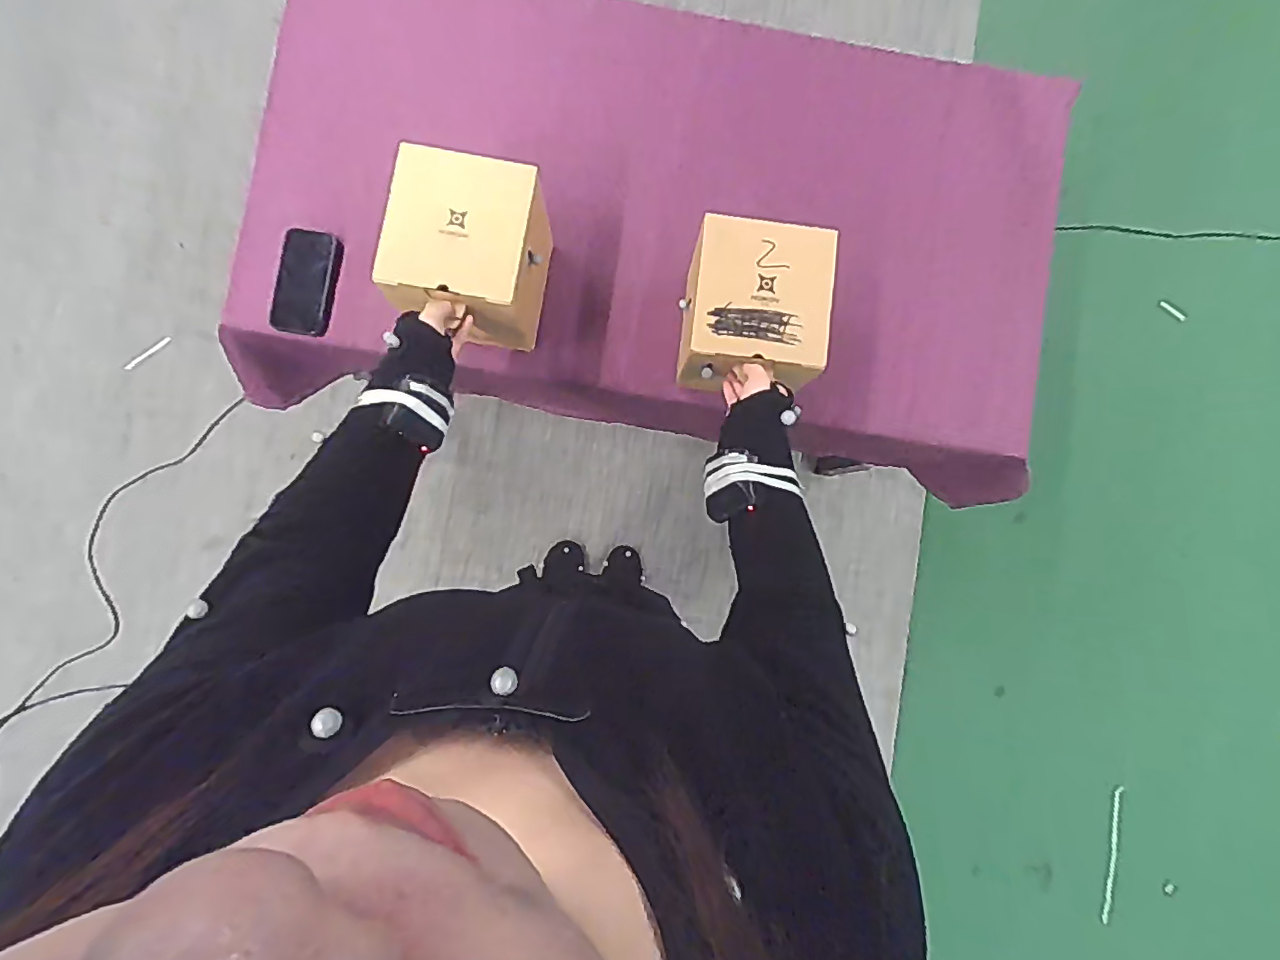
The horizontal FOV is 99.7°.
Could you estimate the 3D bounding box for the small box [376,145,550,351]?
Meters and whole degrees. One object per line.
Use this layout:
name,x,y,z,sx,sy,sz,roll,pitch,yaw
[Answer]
small box,-0.217,-0.292,0.716,0.168,0.176,0.179,10,86,-3
